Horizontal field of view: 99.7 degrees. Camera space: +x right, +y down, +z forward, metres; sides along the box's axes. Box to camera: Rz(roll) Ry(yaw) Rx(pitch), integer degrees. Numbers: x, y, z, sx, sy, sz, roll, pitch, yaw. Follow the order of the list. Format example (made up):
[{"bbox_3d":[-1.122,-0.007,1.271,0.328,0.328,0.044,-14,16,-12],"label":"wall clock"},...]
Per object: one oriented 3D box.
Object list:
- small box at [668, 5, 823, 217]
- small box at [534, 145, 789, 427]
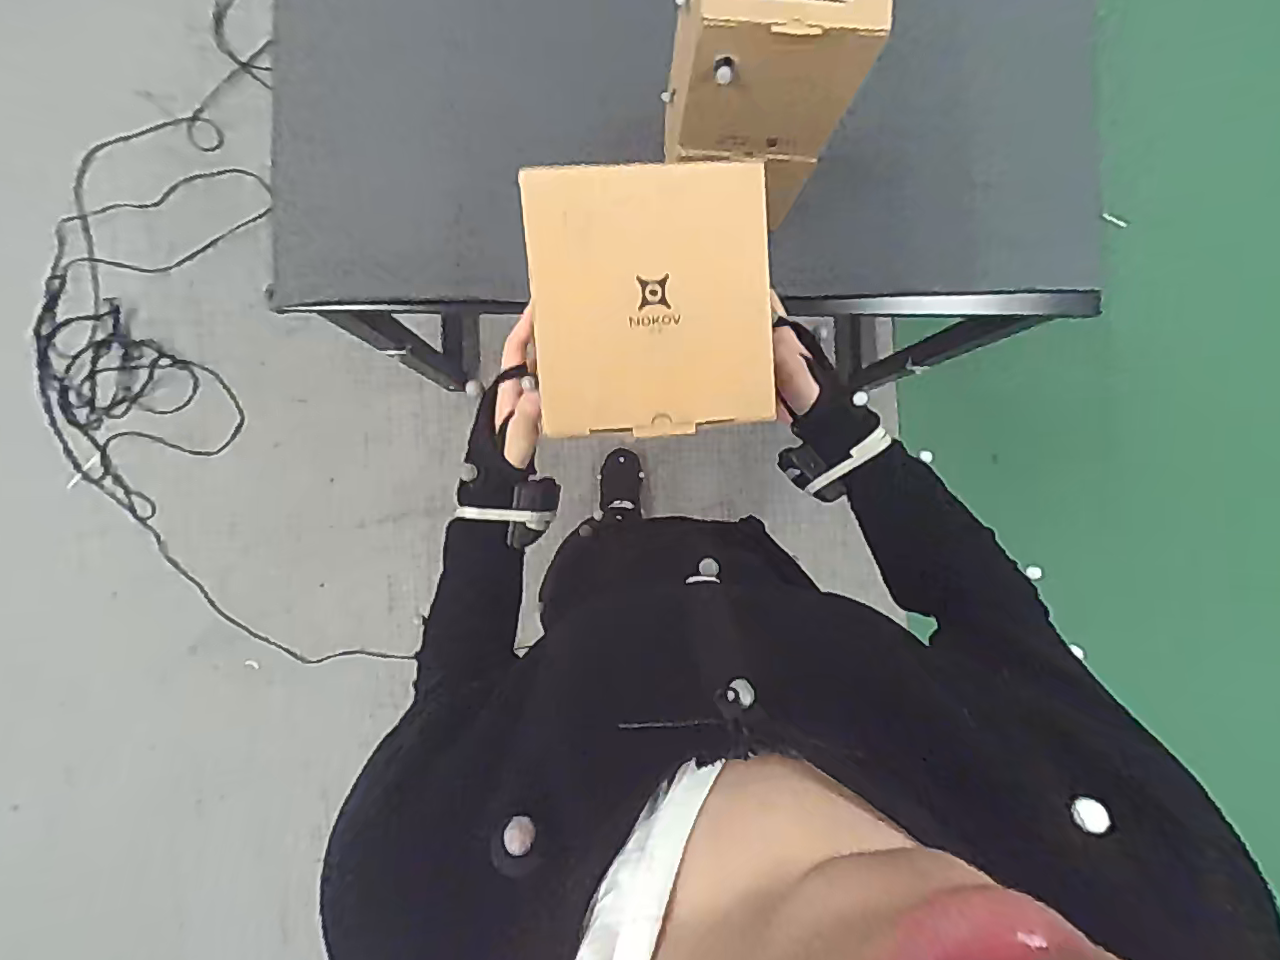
[{"bbox_3d":[0.125,-0.455,0.701,0.168,0.176,0.179,1,88,-2],"label":"small box"},{"bbox_3d":[0.008,-0.137,0.437,0.168,0.176,0.179,-5,96,-6],"label":"small box"}]
